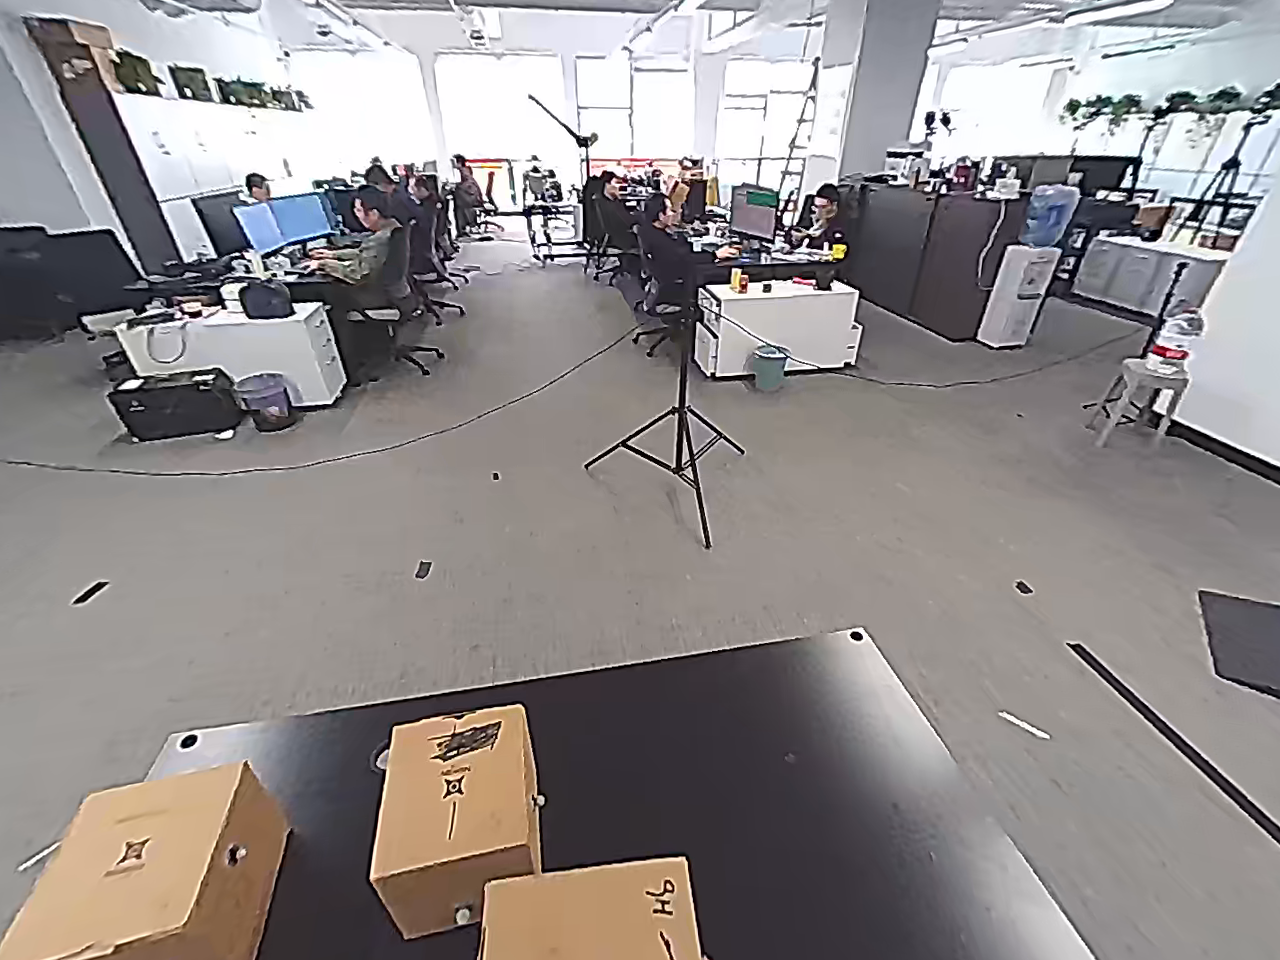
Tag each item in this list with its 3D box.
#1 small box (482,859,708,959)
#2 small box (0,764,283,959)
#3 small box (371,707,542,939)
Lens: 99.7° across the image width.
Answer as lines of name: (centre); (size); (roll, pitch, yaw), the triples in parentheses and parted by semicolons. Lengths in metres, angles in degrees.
small box: (-0.034, 0.447, 0.451); (0.179, 0.176, 0.168); (-2, 39, -6)
small box: (-0.538, 0.467, 0.612); (0.168, 0.176, 0.179); (-7, 32, -13)
small box: (-0.215, 0.423, 0.679); (0.168, 0.176, 0.179); (-7, 34, -10)
